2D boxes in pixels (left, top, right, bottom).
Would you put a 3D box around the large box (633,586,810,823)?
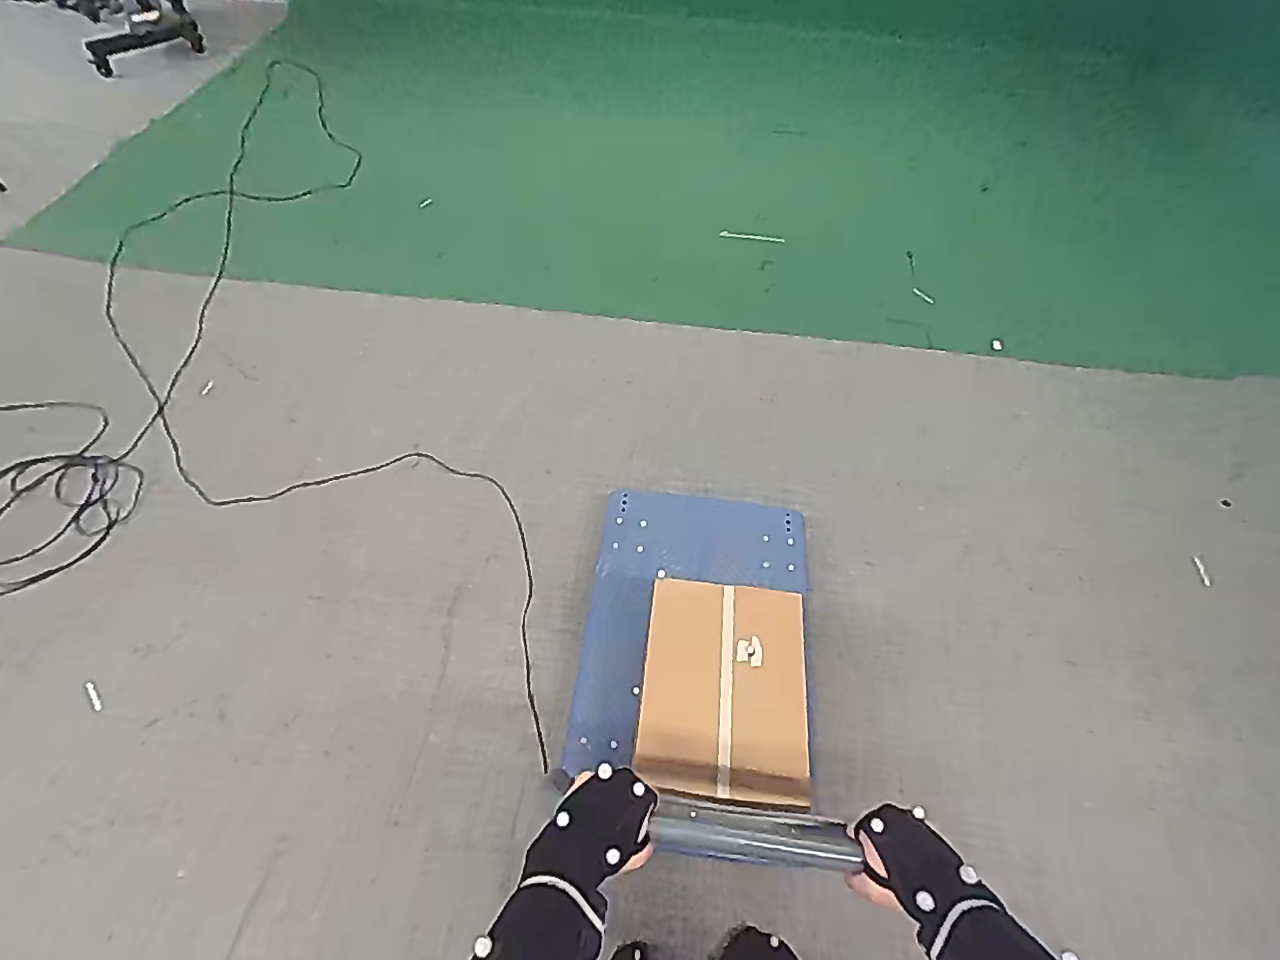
[{"bbox_3d":[0.155,0.487,1.166,0.320,0.320,0.408,6,56,1],"label":"large box"}]
